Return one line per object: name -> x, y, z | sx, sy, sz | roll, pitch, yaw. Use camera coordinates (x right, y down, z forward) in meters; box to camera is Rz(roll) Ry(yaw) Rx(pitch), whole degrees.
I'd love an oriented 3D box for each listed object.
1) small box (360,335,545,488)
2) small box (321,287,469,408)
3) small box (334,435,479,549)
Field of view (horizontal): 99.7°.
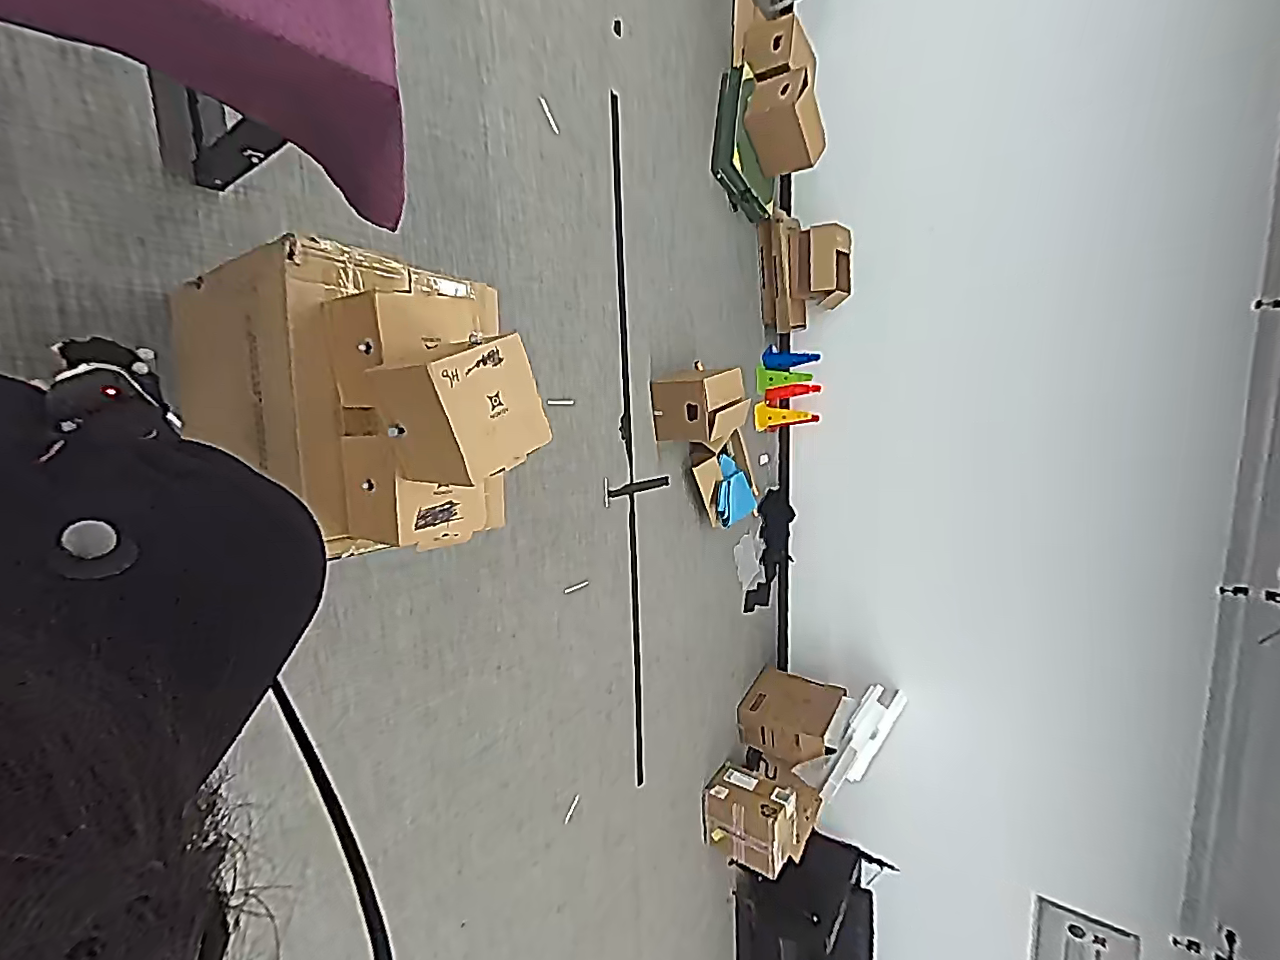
small box -> -0.276, -0.106, 0.807 | 0.168, 0.176, 0.179 | -39, 124, -46
small box -> -0.403, -0.212, 0.901 | 0.168, 0.176, 0.179 | -17, 108, -52
small box -> -0.398, 0.010, 0.926 | 0.168, 0.176, 0.179 | -9, 98, -54
